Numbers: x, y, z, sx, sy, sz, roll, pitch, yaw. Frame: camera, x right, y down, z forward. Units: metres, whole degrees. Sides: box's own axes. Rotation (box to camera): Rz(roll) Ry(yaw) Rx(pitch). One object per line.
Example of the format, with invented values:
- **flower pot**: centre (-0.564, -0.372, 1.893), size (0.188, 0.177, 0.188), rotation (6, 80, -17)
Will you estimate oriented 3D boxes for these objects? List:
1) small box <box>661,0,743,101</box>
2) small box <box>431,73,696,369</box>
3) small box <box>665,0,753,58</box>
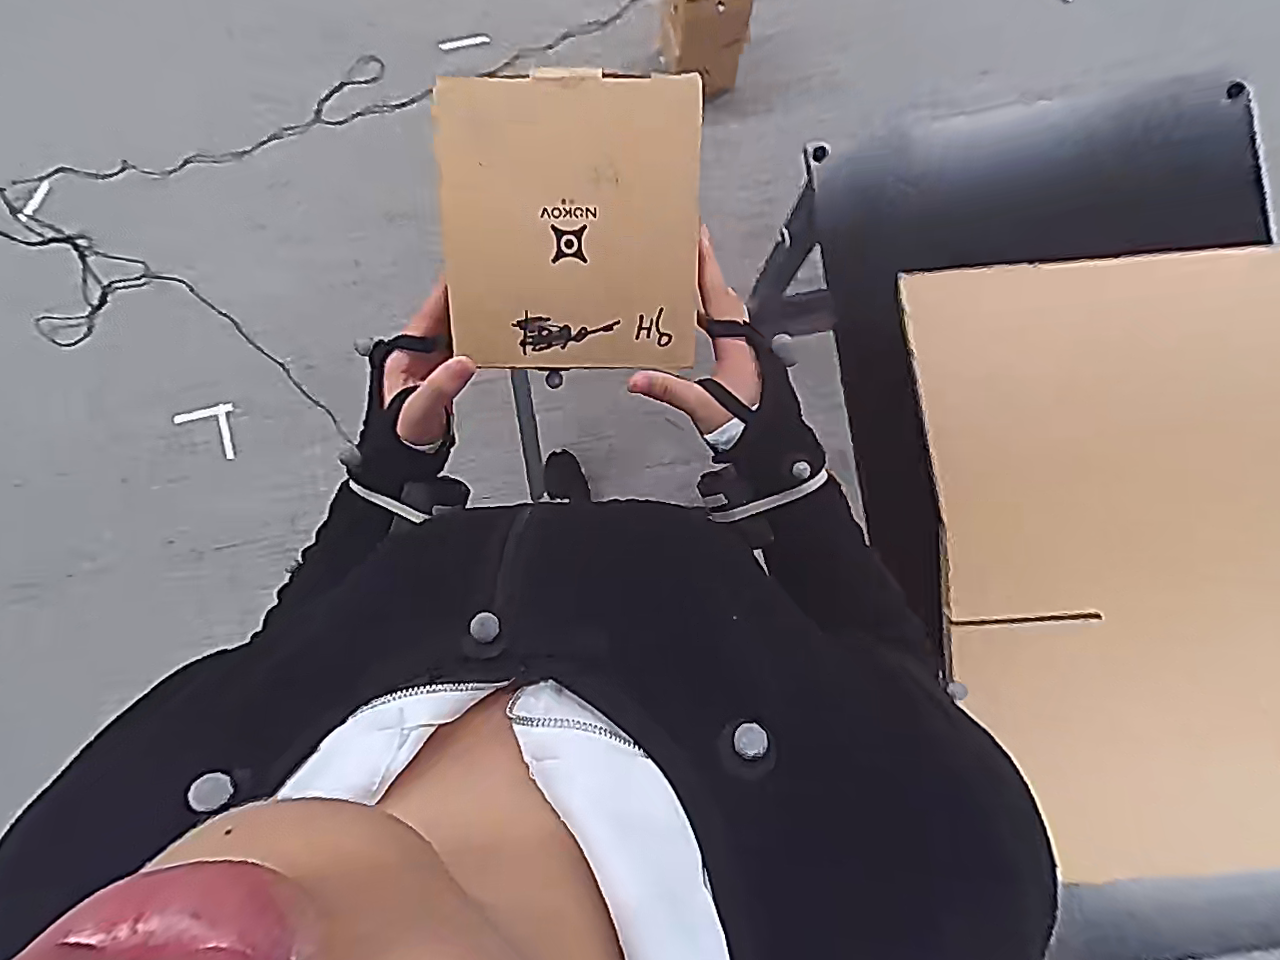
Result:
- **small box**: centre (0.156, -1.129, 1.415), size (0.179, 0.176, 0.168), rotation (-13, 89, 2)
- **small box**: centre (-0.047, -0.178, 0.425), size (0.168, 0.176, 0.179), rotation (0, 102, 2)
- **small box**: centre (0.158, -1.132, 1.252), size (0.179, 0.176, 0.168), rotation (-17, 90, 0)
